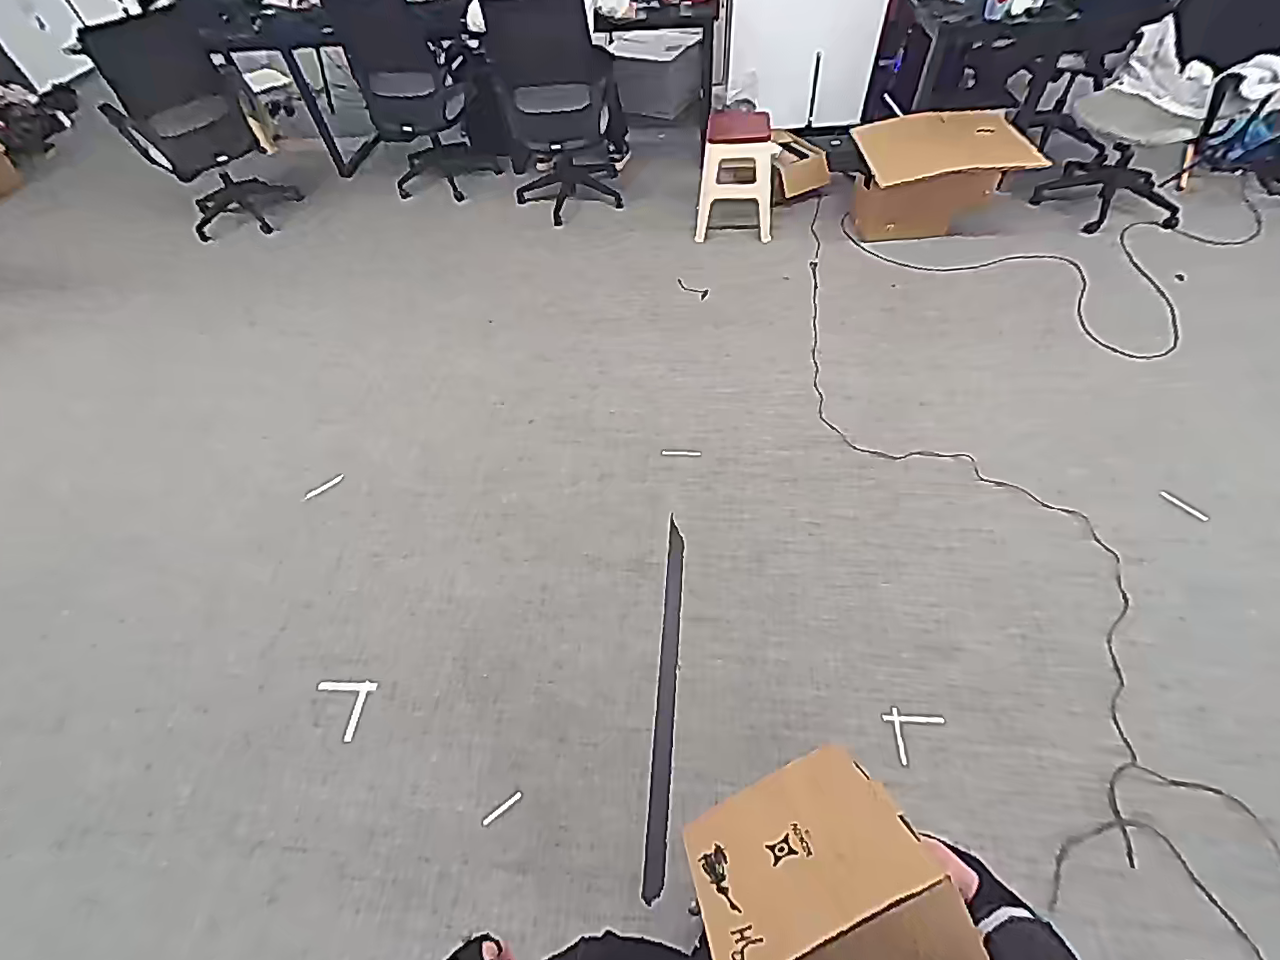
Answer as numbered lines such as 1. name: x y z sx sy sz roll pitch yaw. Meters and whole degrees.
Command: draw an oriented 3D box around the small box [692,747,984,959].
1. small box: 0.169 0.381 0.463 0.179 0.168 0.176 -27 95 -3
